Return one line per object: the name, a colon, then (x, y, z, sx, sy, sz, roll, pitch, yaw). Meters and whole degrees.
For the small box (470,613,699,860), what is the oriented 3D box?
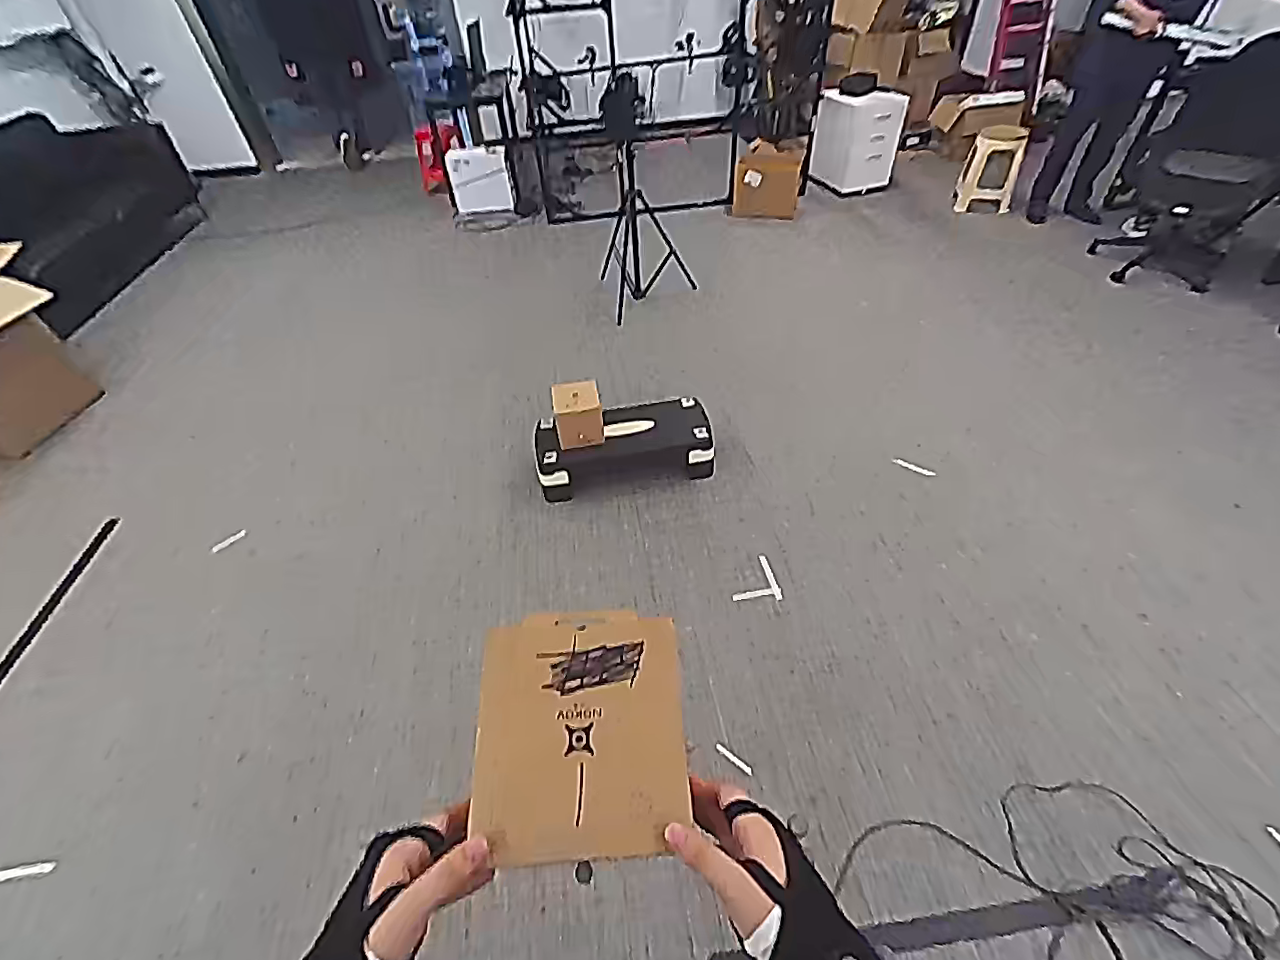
small box: (-0.044, 0.236, 0.494, 0.168, 0.176, 0.179, -2, 56, -2)

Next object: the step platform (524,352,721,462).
step platform: (-0.061, -0.263, 1.947, 0.684, 0.204, 0.286, -9, 45, -5)

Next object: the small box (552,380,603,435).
small box: (-0.229, -0.245, 1.993, 0.168, 0.176, 0.179, -10, 45, -5)
